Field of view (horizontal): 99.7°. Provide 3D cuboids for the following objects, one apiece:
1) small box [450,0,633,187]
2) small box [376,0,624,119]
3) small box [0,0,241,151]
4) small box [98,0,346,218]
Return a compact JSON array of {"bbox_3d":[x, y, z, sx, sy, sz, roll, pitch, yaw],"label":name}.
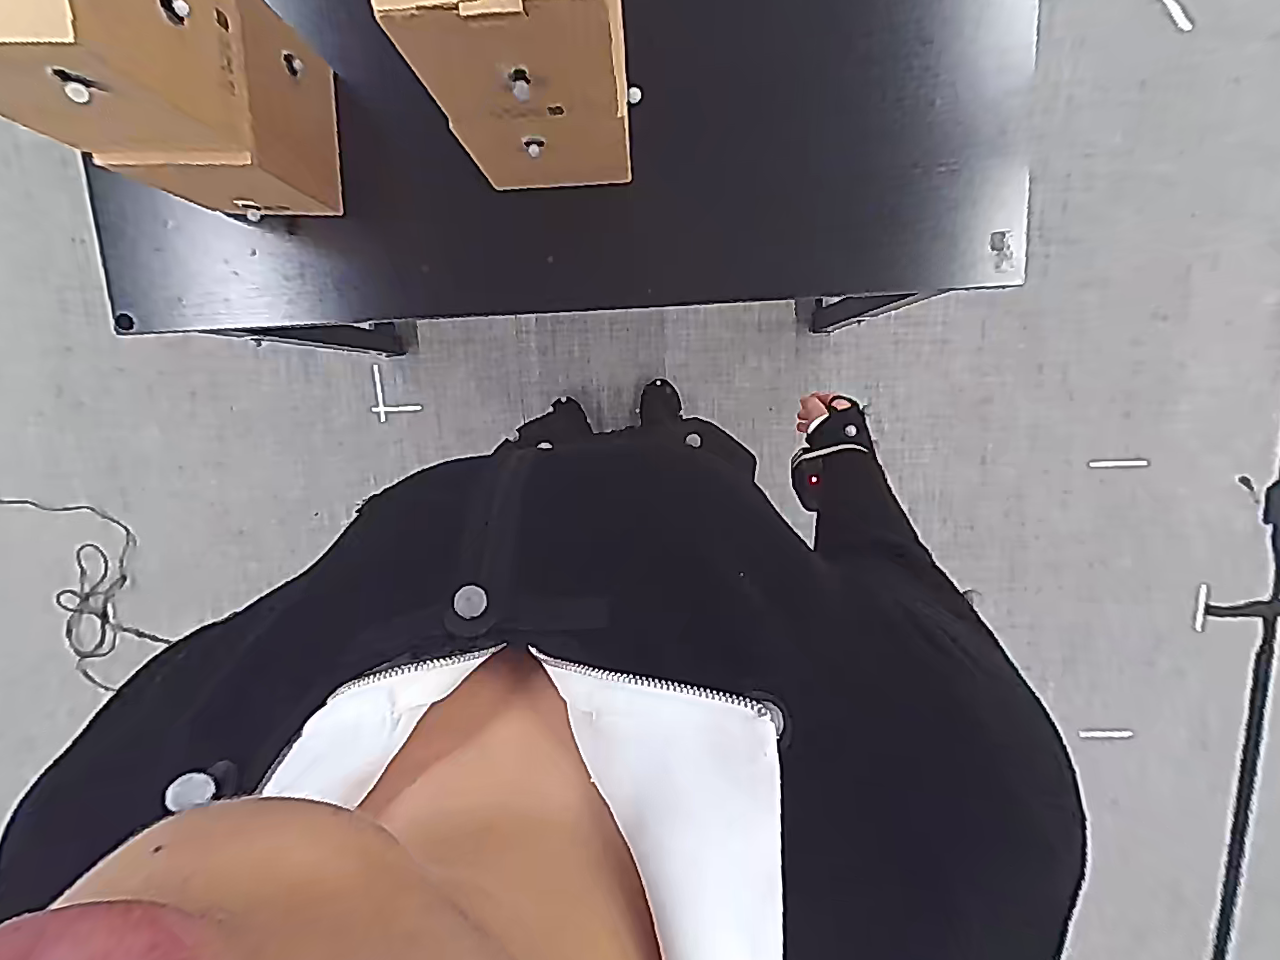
[{"bbox_3d":[-0.100,-0.442,0.598,0.179,0.176,0.168,-3,99,1],"label":"small box"},{"bbox_3d":[-0.103,-0.420,0.436,0.168,0.176,0.179,-3,100,2],"label":"small box"},{"bbox_3d":[-0.471,-0.396,0.448,0.179,0.176,0.168,1,99,2],"label":"small box"},{"bbox_3d":[-0.462,-0.416,0.611,0.168,0.176,0.179,1,100,2],"label":"small box"}]
